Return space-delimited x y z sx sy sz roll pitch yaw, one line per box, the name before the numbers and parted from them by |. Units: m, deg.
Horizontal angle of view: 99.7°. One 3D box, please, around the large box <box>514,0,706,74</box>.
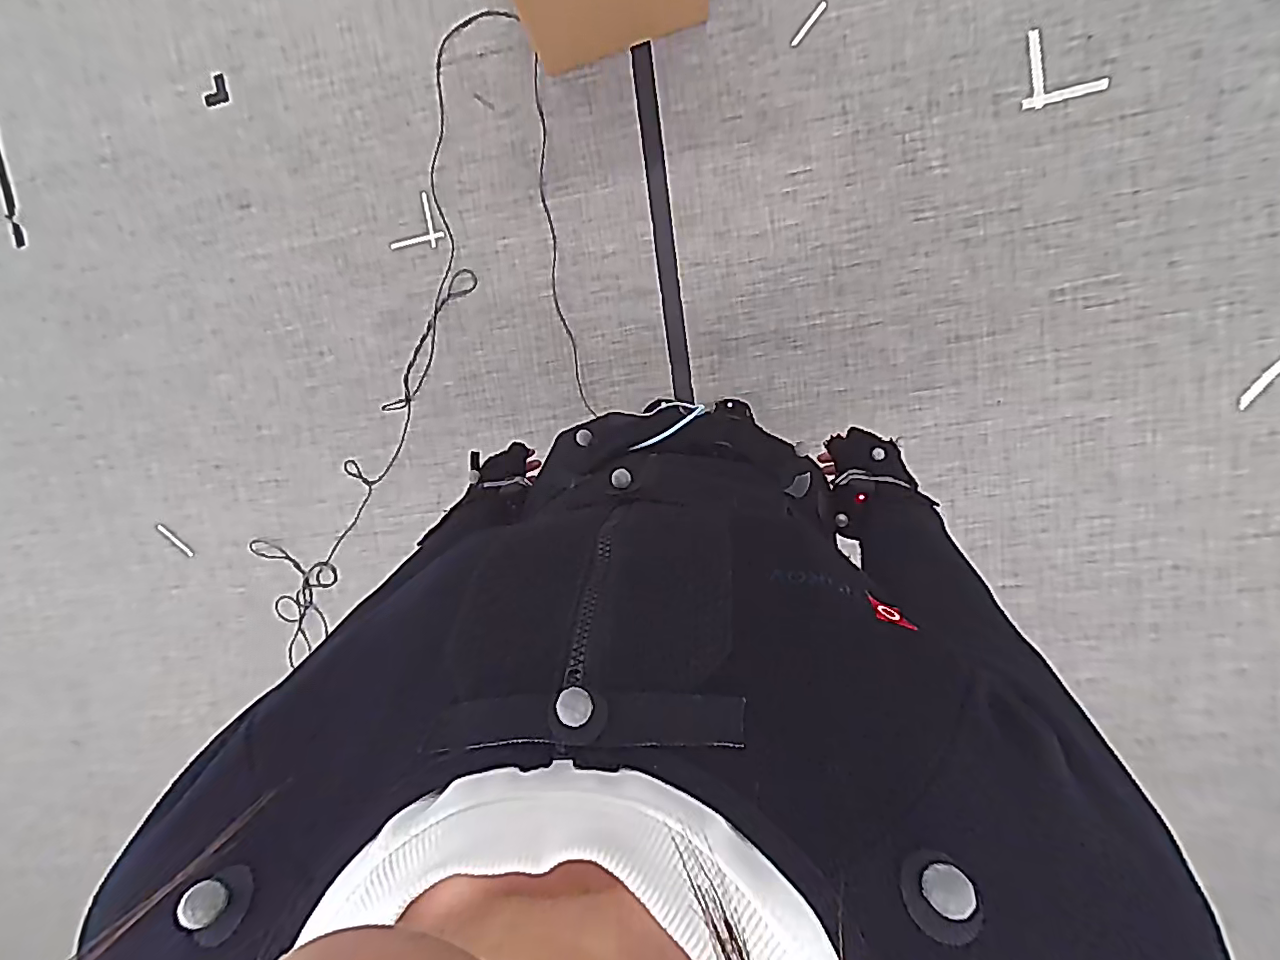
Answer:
large box | -0.090 -1.156 1.130 0.408 0.320 0.320 -14 98 8
